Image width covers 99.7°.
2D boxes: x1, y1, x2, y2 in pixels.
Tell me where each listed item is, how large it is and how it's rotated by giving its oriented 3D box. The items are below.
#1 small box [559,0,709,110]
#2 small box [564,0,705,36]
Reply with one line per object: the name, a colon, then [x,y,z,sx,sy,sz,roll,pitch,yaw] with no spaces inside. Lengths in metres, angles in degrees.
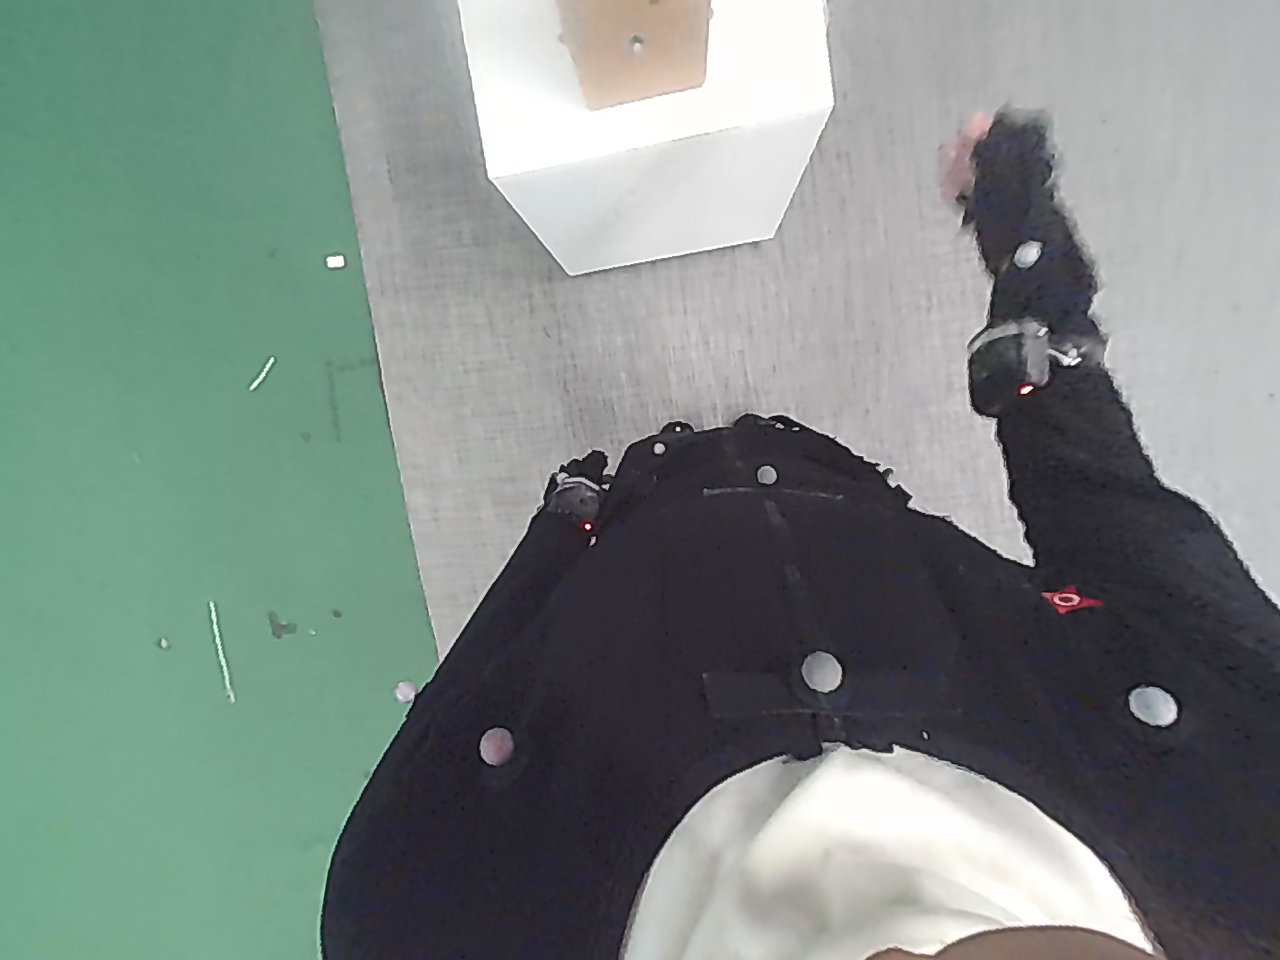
small box: [-0.008,-0.619,0.700,0.179,0.176,0.168,-9,96,5]
small box: [-0.021,-0.606,0.540,0.168,0.176,0.179,-10,96,5]
